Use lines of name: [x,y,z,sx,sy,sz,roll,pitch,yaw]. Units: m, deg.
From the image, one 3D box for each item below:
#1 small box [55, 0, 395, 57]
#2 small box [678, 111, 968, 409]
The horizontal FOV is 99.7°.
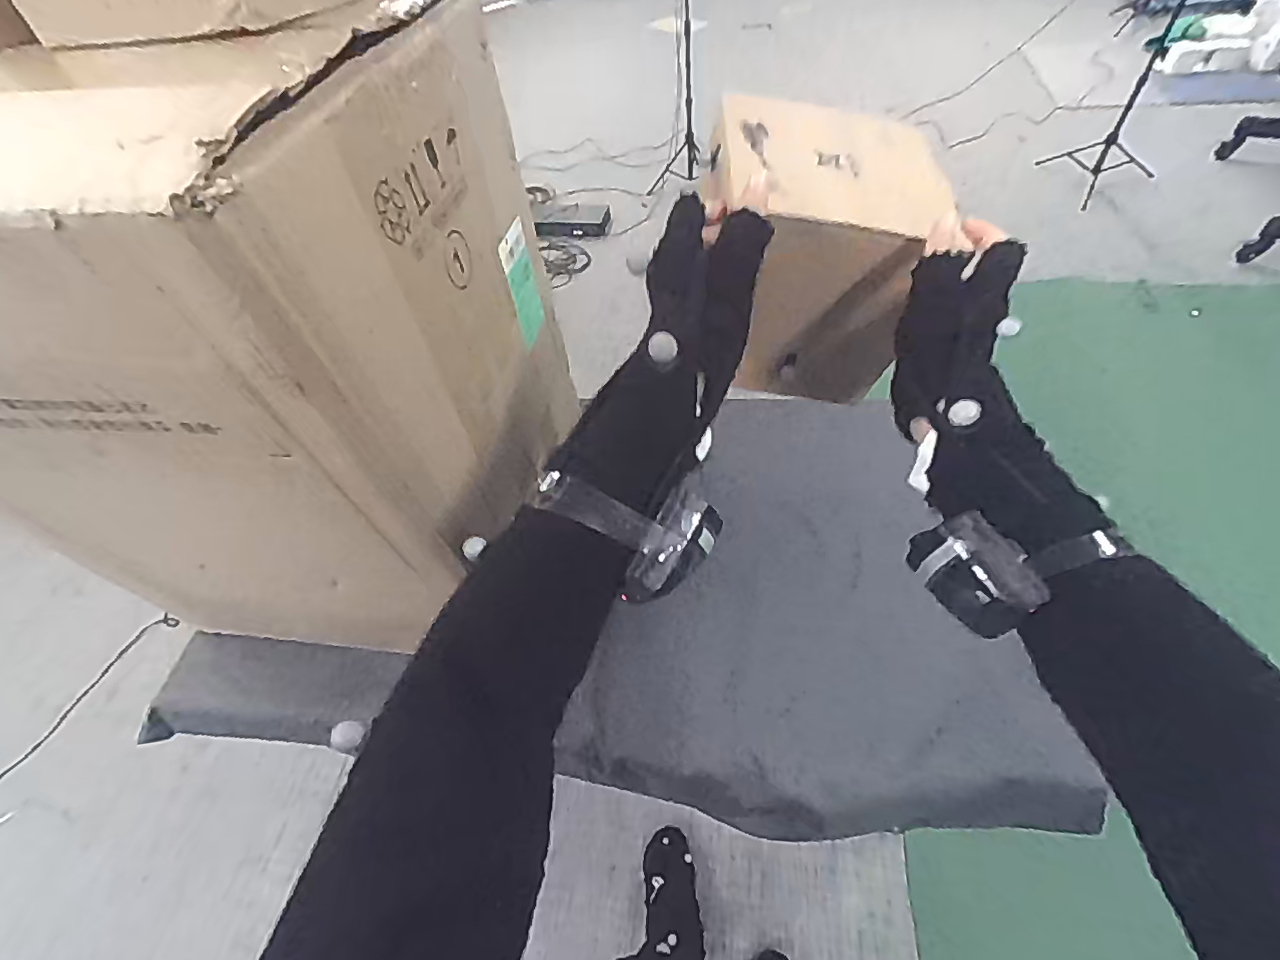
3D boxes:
small box: [-0.306,-0.406,0.363,0.179,0.176,0.168,4,50,9]
small box: [0.140,-0.184,0.484,0.179,0.176,0.168,7,57,-8]
